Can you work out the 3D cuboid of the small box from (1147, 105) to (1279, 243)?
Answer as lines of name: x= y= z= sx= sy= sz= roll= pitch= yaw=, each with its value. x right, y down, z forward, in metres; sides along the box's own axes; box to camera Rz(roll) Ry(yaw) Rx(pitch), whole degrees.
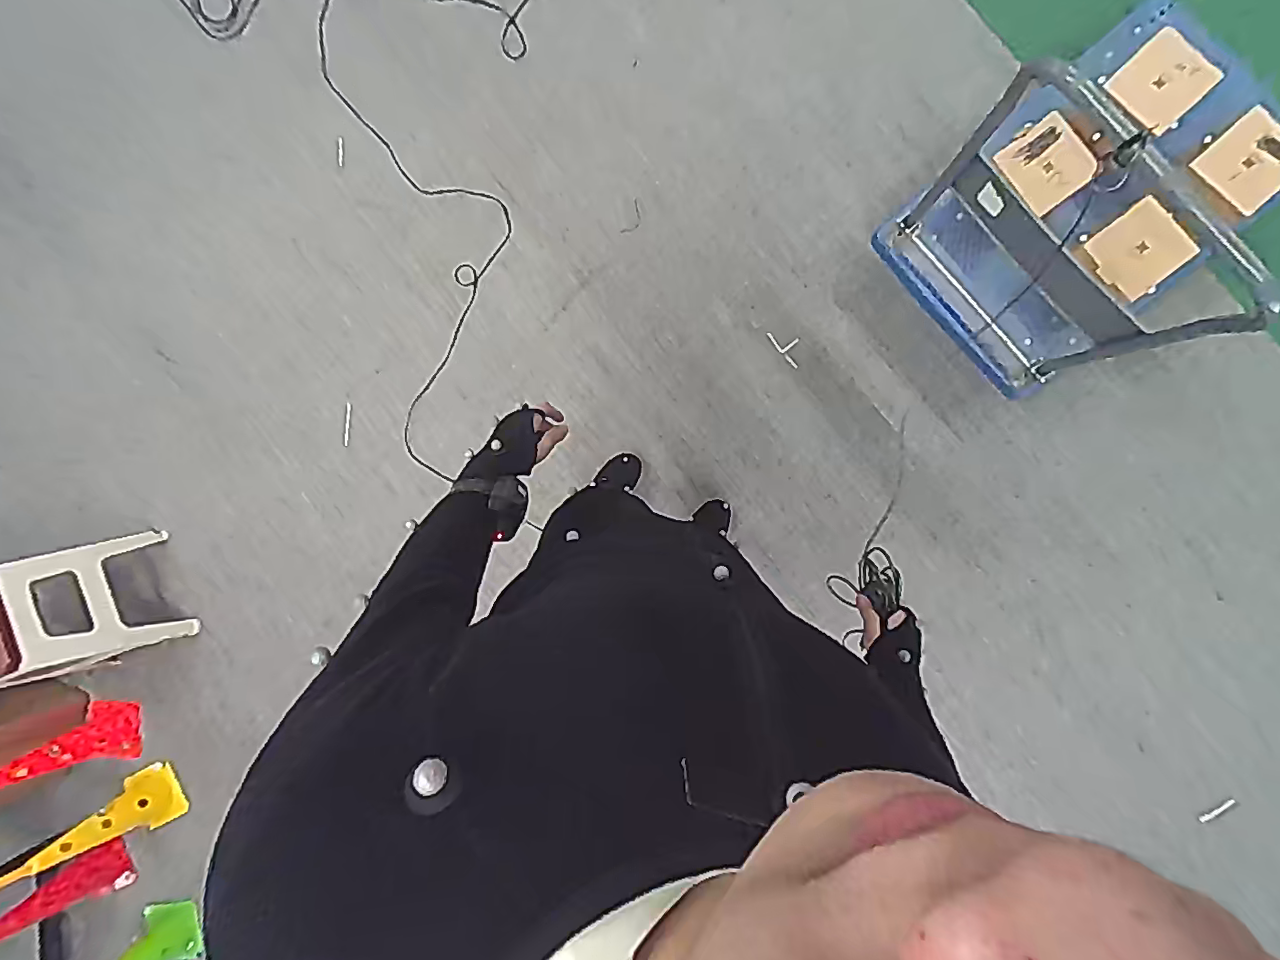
small box: x=1.306 y=-0.663 z=1.200 sx=0.179 sy=0.176 sz=0.168 roll=-43 pitch=85 yaw=7

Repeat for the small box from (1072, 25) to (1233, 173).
small box: x=1.134 y=-0.846 z=1.222 sx=0.179 sy=0.176 sz=0.168 roll=-43 pitch=86 yaw=6

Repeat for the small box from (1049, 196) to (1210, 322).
small box: x=1.099 y=-0.493 z=1.233 sx=0.179 sy=0.176 sz=0.168 roll=-39 pitch=86 yaw=8
